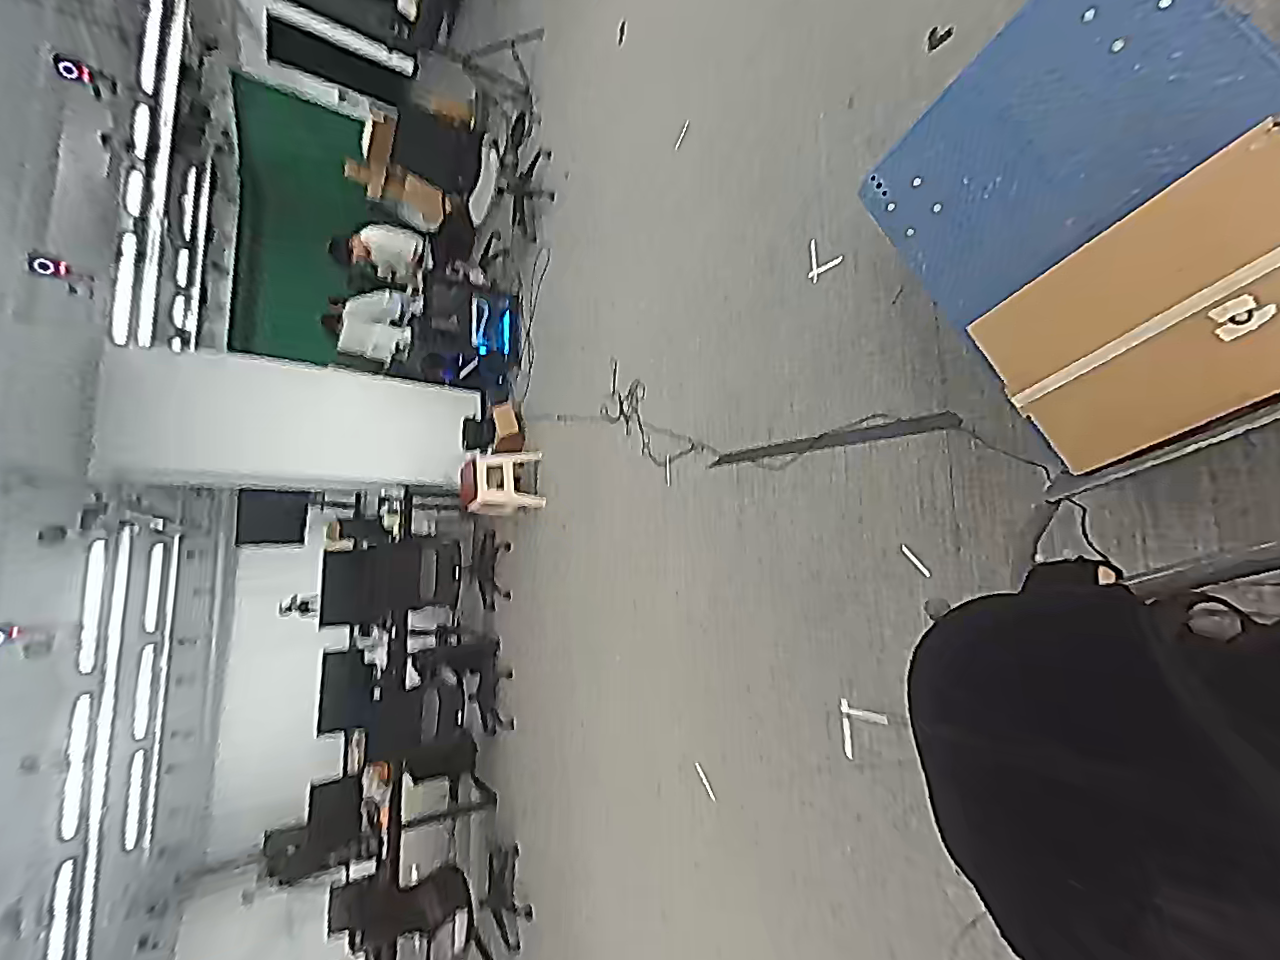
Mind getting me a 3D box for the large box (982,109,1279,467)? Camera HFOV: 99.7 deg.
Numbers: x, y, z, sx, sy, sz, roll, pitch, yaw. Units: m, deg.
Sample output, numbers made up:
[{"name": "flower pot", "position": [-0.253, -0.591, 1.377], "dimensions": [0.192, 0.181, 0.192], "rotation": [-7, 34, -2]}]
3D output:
[{"name": "large box", "position": [0.880, -0.272, 0.878], "dimensions": [0.408, 0.320, 0.320], "rotation": [-43, 71, 46]}]
